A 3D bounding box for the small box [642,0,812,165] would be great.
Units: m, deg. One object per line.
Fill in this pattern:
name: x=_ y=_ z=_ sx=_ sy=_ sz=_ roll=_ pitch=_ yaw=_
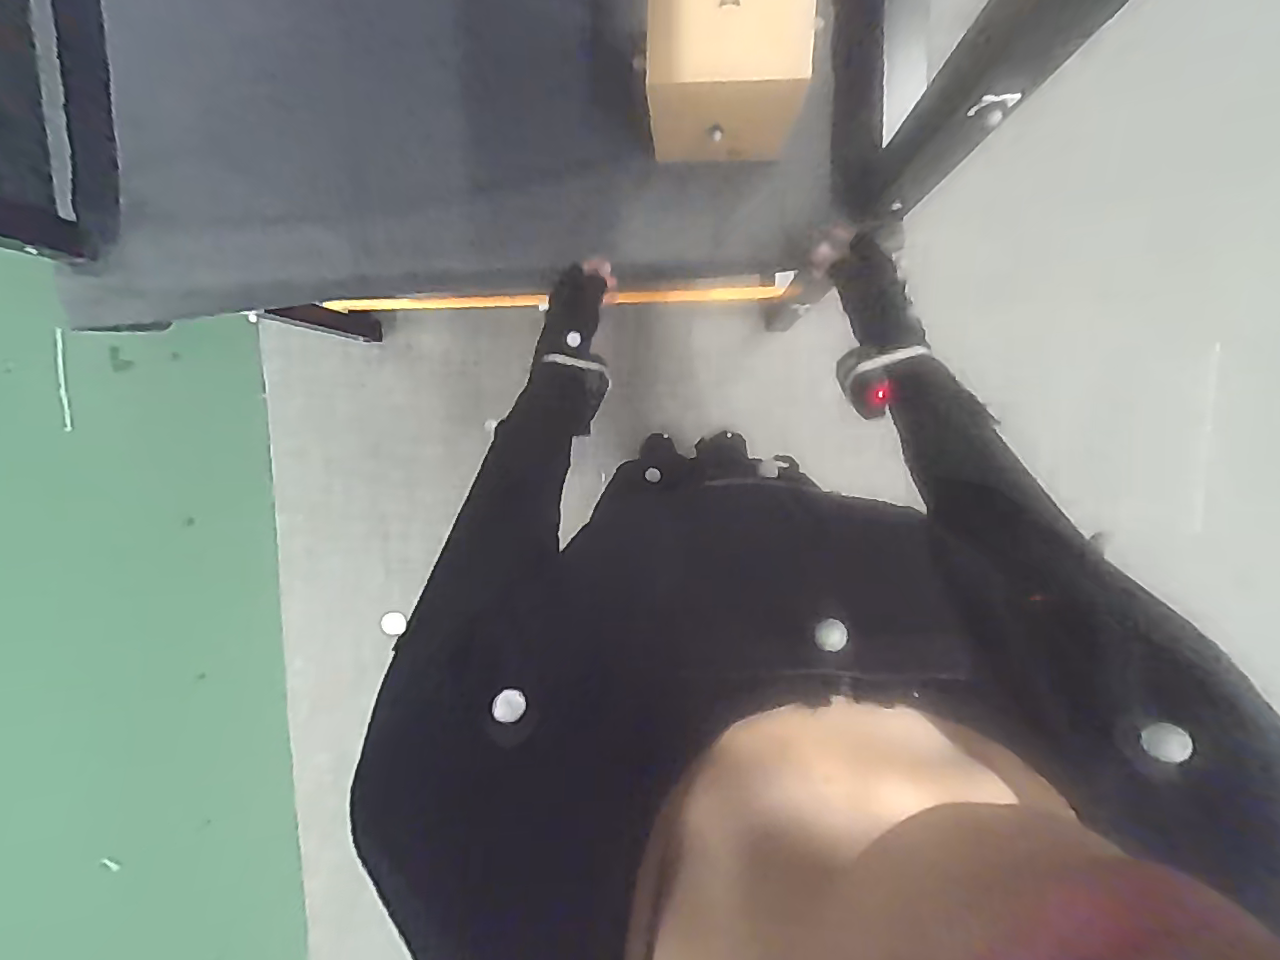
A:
small box: x=0.096 y=-0.484 z=0.614 sx=0.168 sy=0.176 sz=0.179 roll=3 pitch=95 yaw=5
